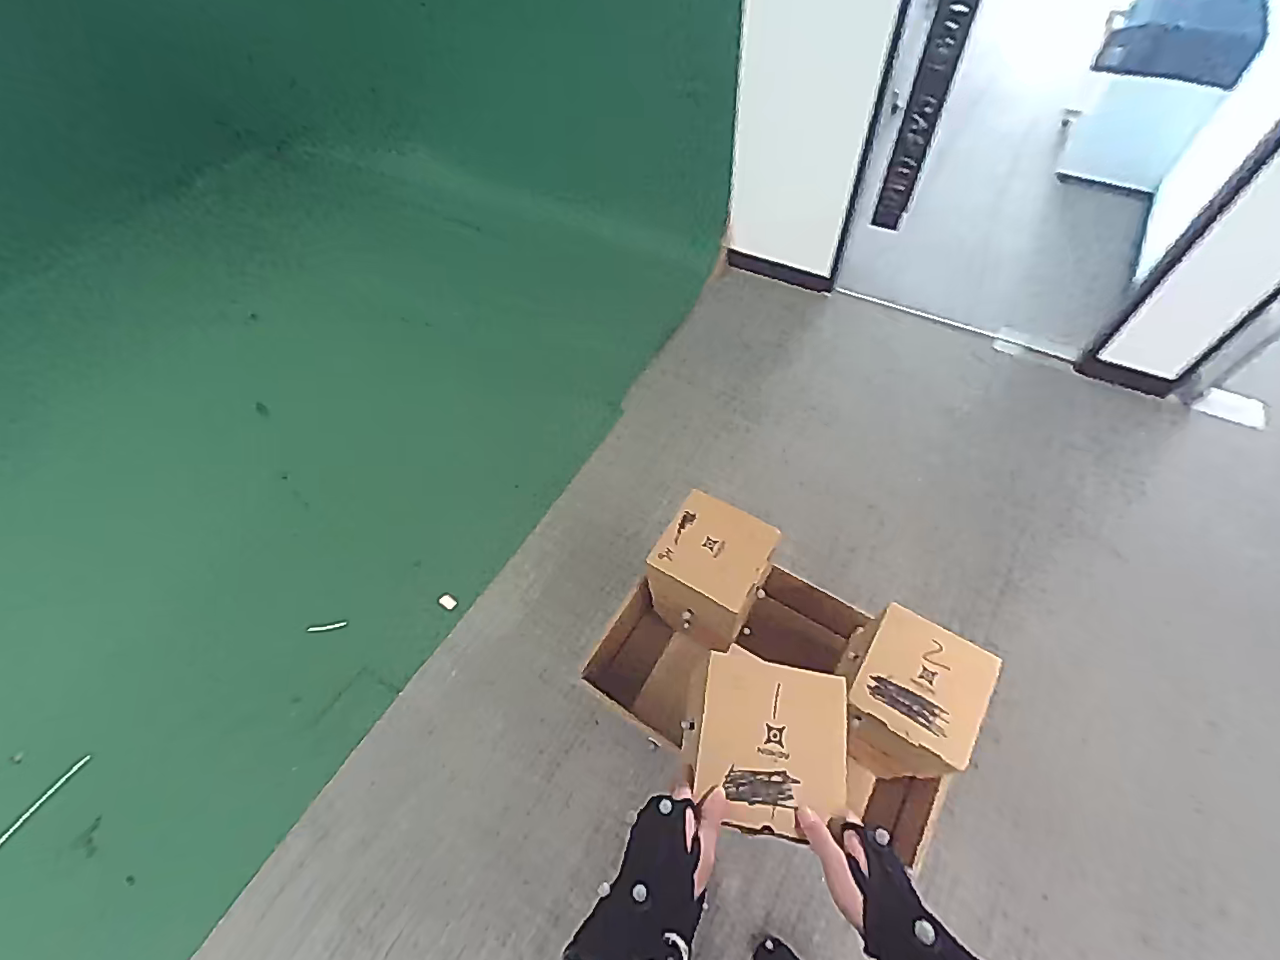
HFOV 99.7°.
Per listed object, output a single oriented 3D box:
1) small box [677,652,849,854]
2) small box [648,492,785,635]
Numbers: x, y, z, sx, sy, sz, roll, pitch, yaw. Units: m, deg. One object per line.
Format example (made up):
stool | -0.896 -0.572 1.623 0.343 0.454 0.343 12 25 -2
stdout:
small box | 0.144 0.332 0.665 0.168 0.176 0.179 11 60 2
small box | 0.133 0.158 0.970 0.179 0.176 0.168 28 65 19
